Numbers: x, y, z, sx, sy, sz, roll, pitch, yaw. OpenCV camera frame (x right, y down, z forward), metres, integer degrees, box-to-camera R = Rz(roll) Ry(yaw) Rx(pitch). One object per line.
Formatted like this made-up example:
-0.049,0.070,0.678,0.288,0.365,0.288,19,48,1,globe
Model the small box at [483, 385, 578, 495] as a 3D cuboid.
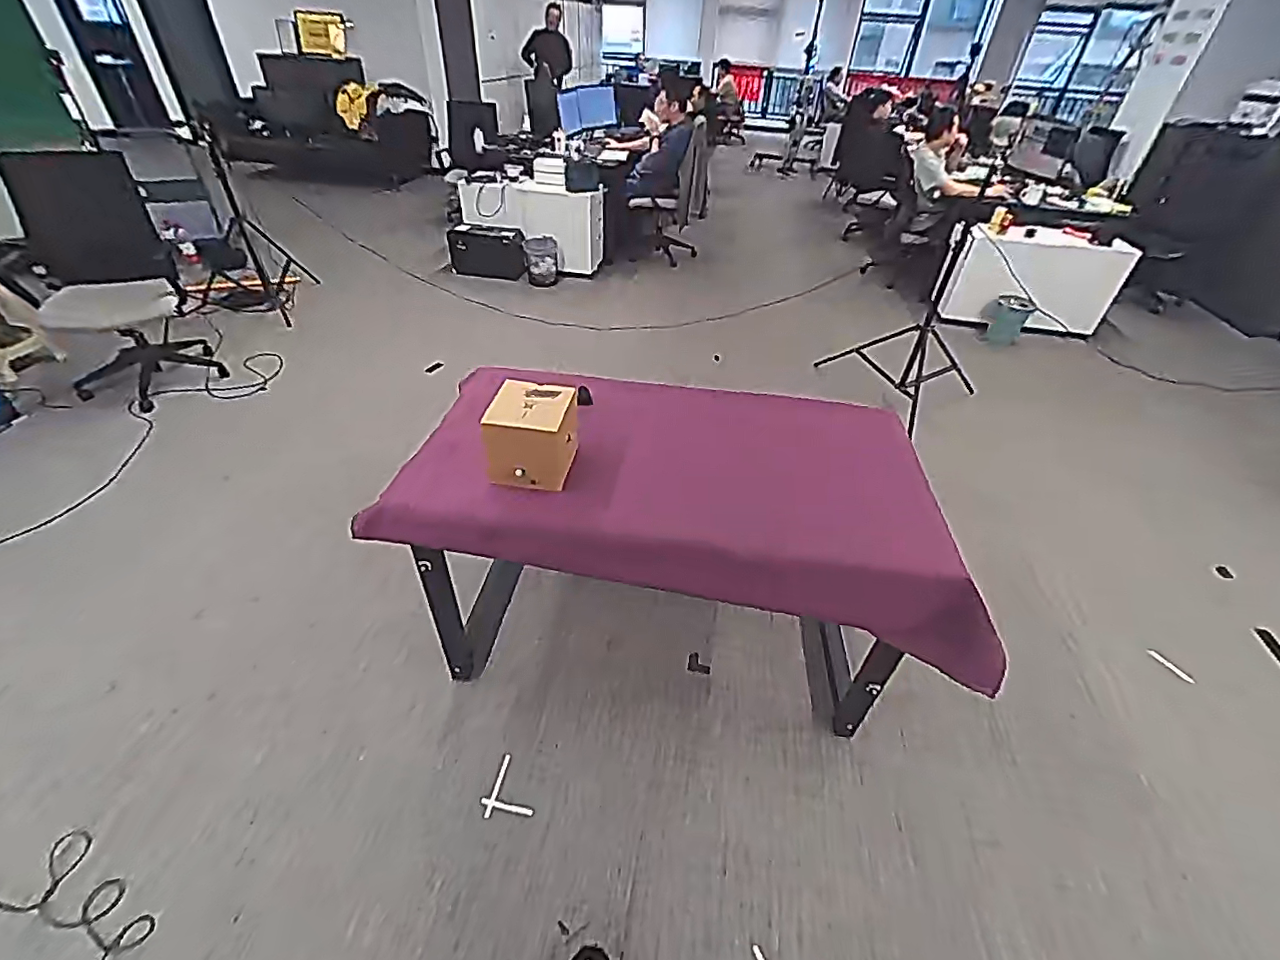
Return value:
-0.239,-0.091,1.222,0.168,0.176,0.179,7,40,4,small box
